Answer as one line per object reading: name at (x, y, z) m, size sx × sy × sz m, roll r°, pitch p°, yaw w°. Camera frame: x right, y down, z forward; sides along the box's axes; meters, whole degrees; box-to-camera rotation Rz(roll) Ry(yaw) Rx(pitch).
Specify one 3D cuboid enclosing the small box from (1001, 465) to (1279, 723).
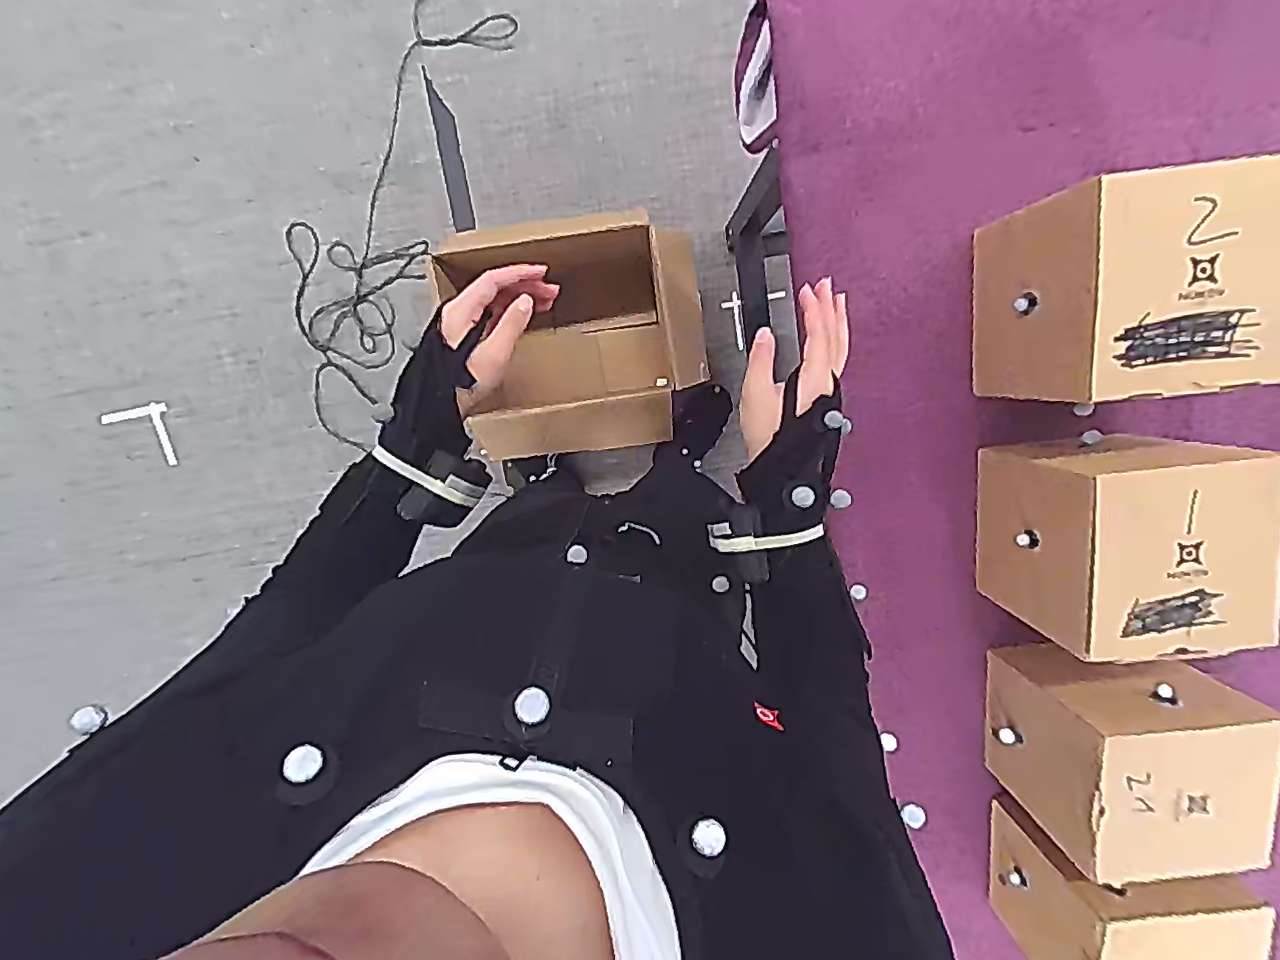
small box at (0.488, 0.113, 0.542) m, size 0.168 × 0.176 × 0.179 m, roll -22°, pitch 98°, yaw 45°

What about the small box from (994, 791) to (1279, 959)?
small box at (0.554, 0.493, 0.628) m, size 0.179 × 0.176 × 0.168 m, roll -5°, pitch 101°, yaw 1°
